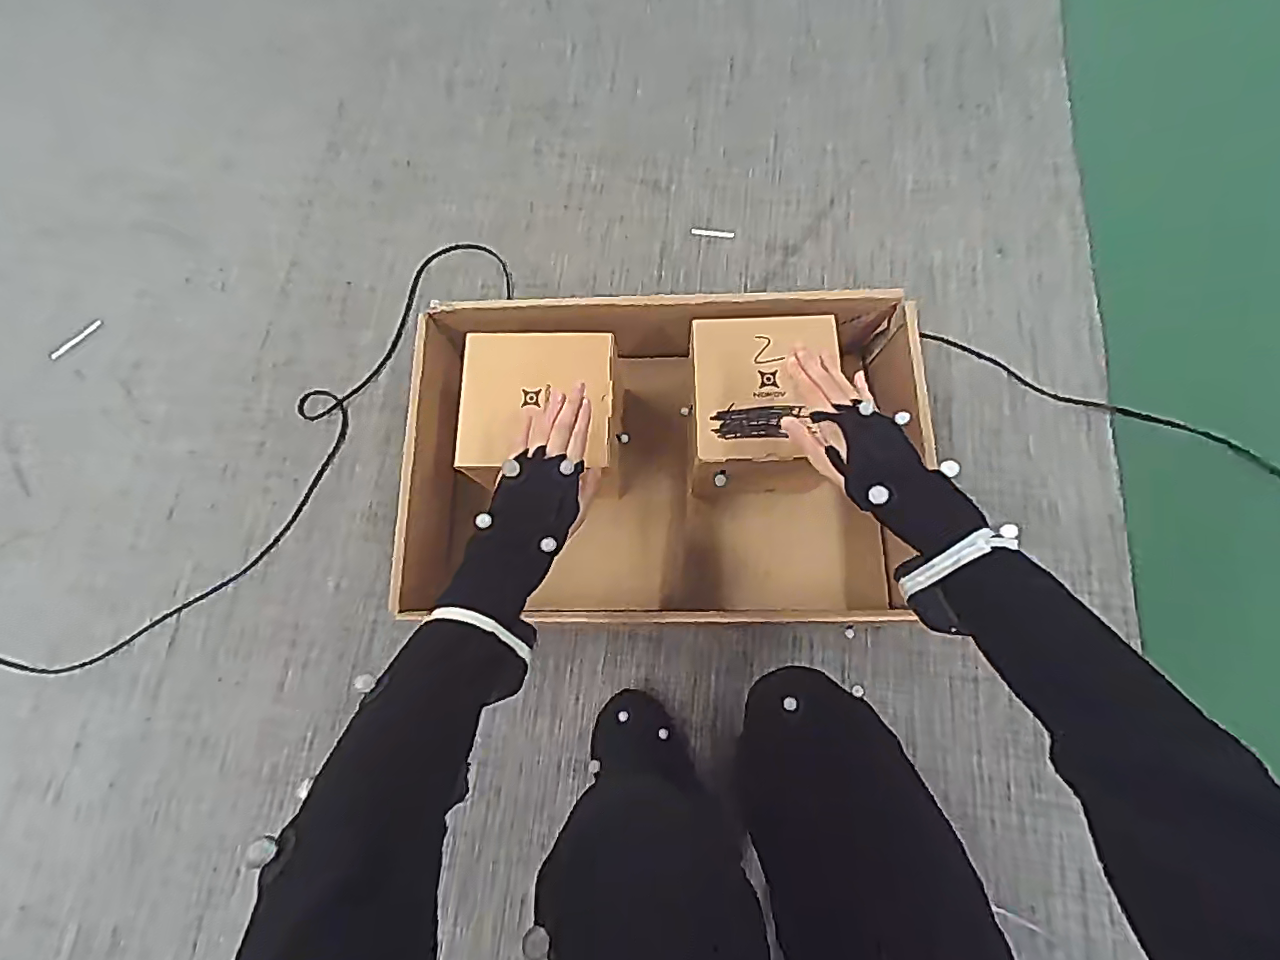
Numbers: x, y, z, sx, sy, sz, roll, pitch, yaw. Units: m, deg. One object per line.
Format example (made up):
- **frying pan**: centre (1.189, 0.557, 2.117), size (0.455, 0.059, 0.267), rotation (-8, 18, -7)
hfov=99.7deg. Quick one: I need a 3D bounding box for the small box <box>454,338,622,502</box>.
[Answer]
- **small box**: centre (-0.118, -0.067, 0.696), size (0.179, 0.176, 0.168), rotation (0, 76, 1)
